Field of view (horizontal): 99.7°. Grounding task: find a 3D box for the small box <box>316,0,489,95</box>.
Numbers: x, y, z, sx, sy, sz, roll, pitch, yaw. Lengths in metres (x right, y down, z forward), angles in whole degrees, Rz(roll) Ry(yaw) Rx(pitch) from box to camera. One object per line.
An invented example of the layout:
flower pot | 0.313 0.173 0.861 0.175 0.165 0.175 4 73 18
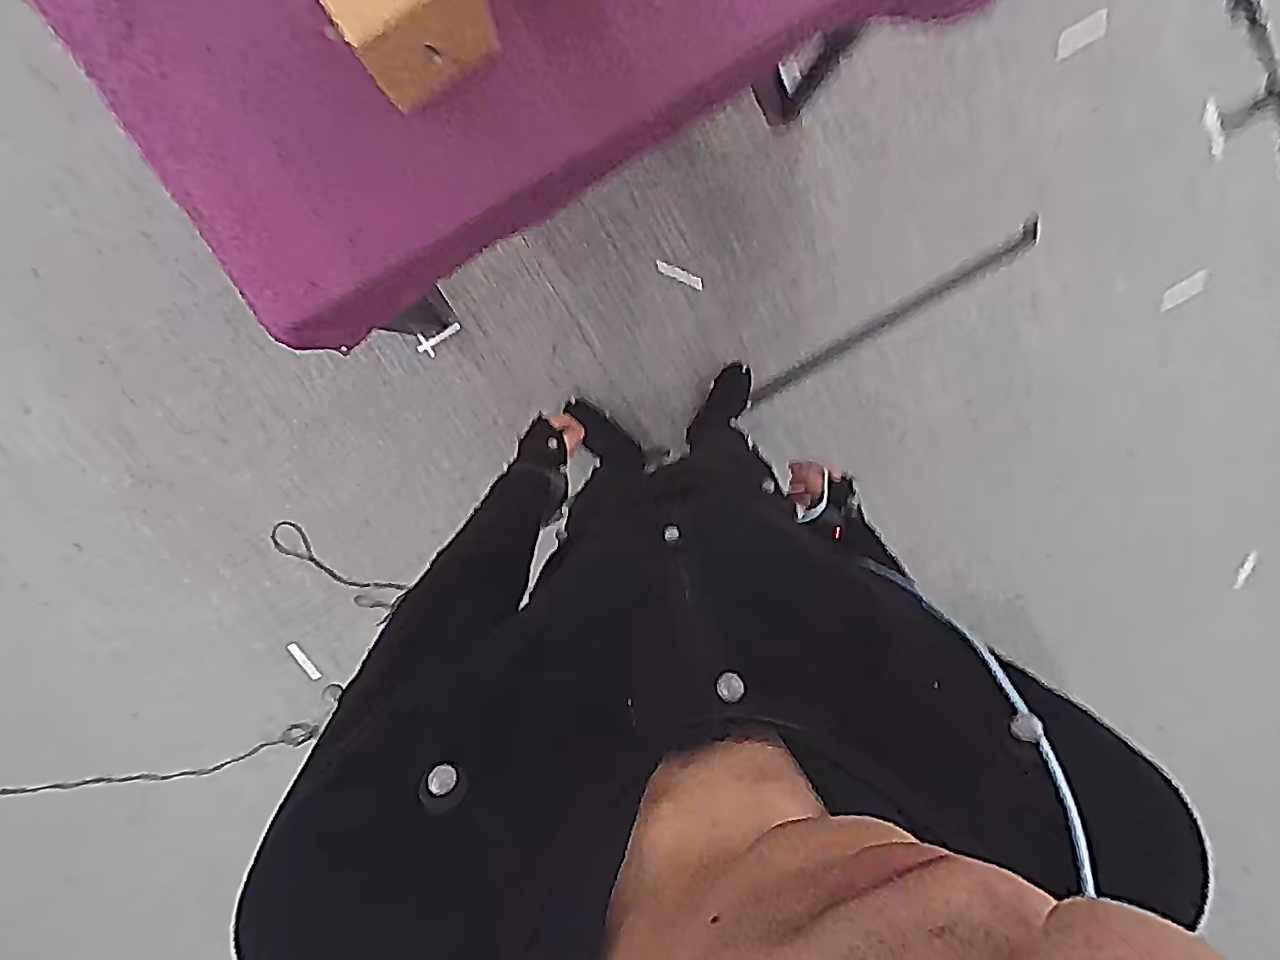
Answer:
small box | -0.306 -0.610 0.649 0.168 0.176 0.179 -32 103 3
